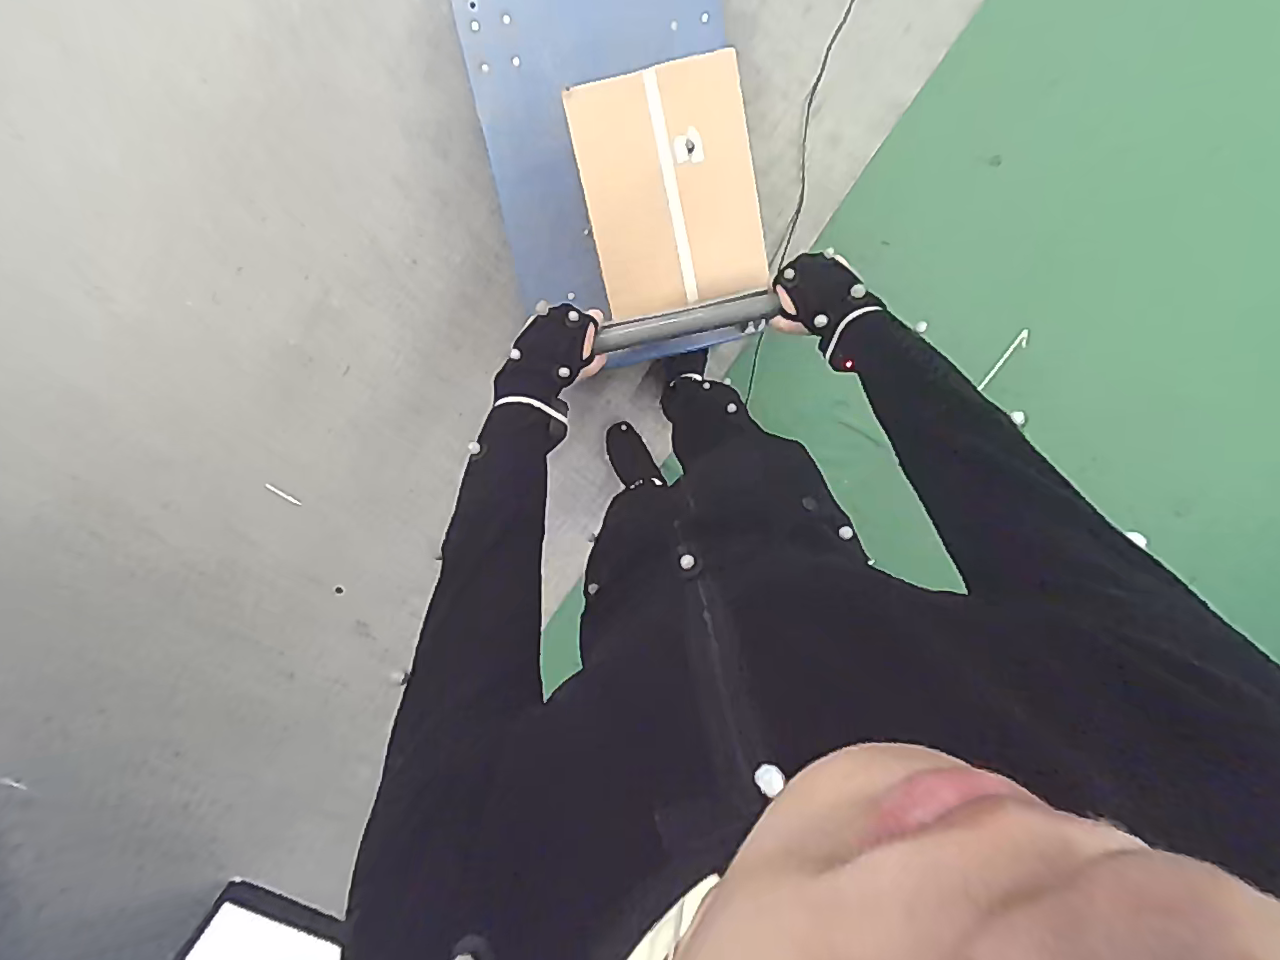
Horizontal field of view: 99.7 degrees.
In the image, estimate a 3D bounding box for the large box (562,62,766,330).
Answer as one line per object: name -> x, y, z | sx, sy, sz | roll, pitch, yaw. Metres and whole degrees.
large box -> 0.050, -0.562, 1.161 | 0.320, 0.320, 0.408 | -13, 104, 1
